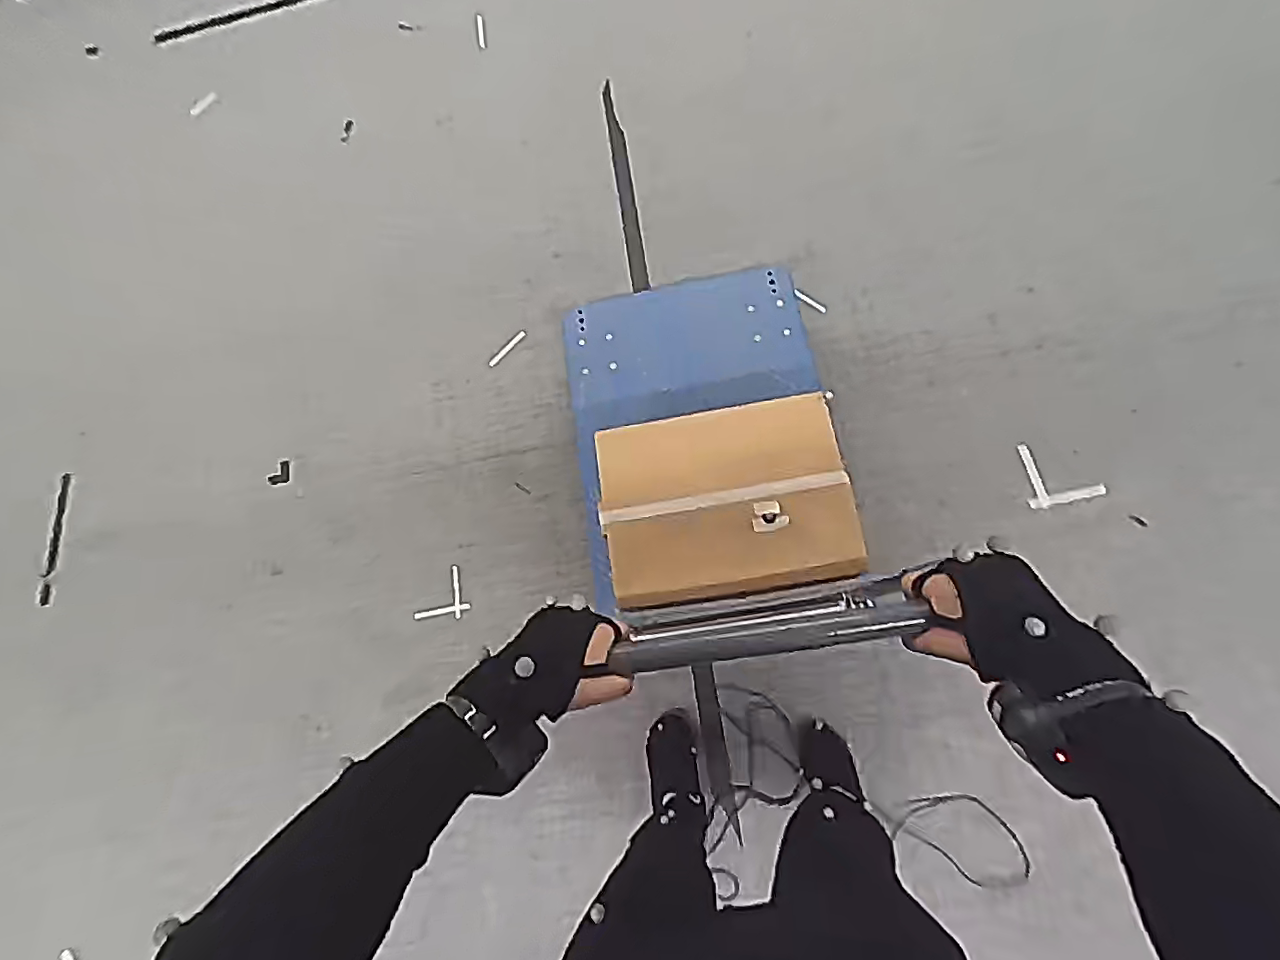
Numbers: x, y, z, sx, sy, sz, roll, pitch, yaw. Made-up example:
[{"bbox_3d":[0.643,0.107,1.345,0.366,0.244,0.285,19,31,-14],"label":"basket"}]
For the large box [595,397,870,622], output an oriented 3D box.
[{"bbox_3d":[0.153,0.079,1.022,0.408,0.320,0.320,-10,74,4],"label":"large box"}]
